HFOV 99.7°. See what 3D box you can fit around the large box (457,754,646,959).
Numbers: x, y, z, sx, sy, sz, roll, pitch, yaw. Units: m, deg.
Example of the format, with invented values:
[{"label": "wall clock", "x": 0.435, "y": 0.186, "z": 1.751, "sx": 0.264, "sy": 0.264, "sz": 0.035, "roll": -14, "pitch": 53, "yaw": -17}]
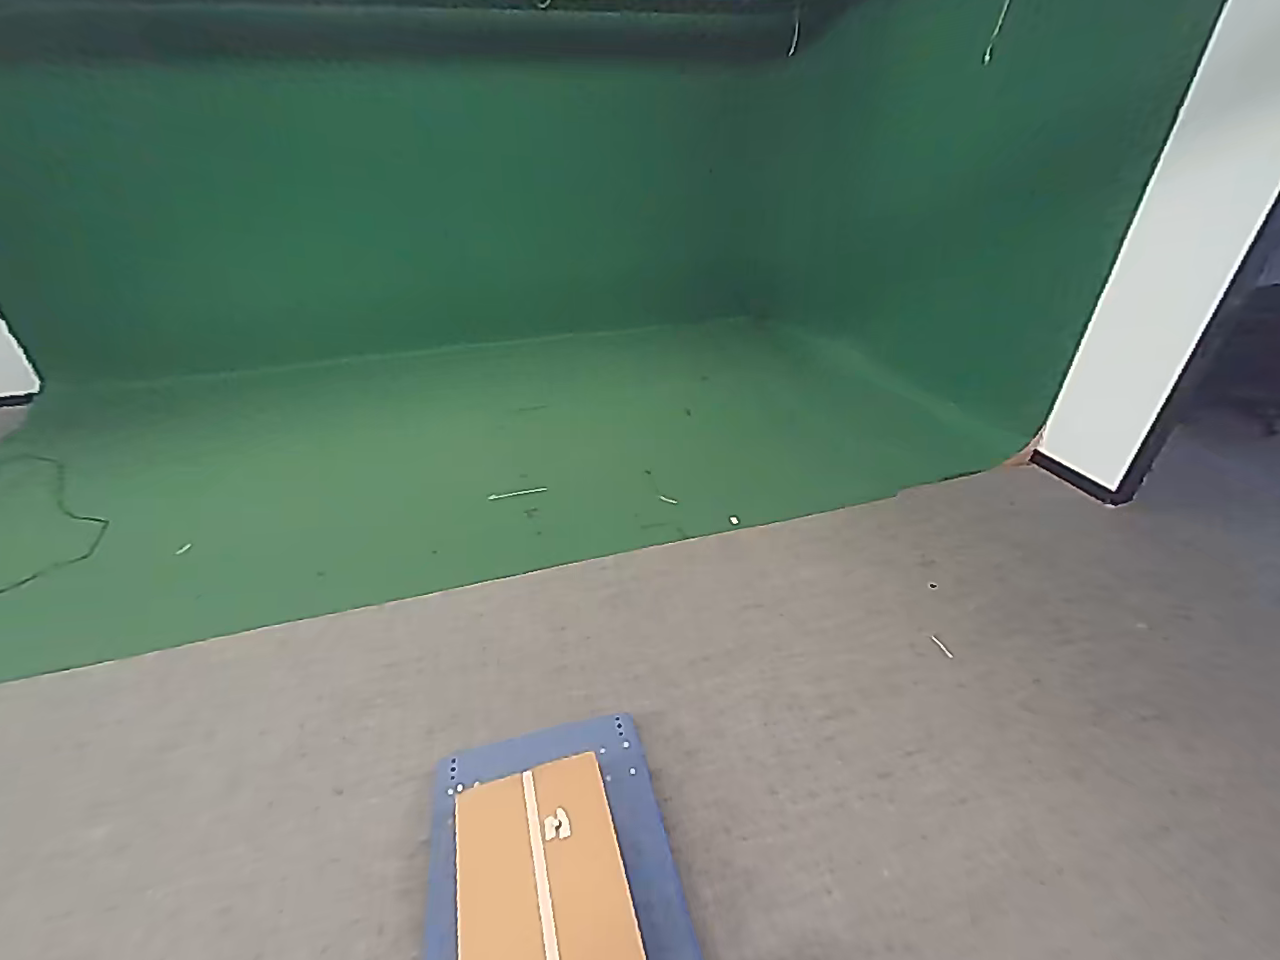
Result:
[{"label": "large box", "x": -0.187, "y": 0.887, "z": 1.137, "sx": 0.320, "sy": 0.320, "sz": 0.408, "roll": -11, "pitch": 34, "yaw": -14}]
